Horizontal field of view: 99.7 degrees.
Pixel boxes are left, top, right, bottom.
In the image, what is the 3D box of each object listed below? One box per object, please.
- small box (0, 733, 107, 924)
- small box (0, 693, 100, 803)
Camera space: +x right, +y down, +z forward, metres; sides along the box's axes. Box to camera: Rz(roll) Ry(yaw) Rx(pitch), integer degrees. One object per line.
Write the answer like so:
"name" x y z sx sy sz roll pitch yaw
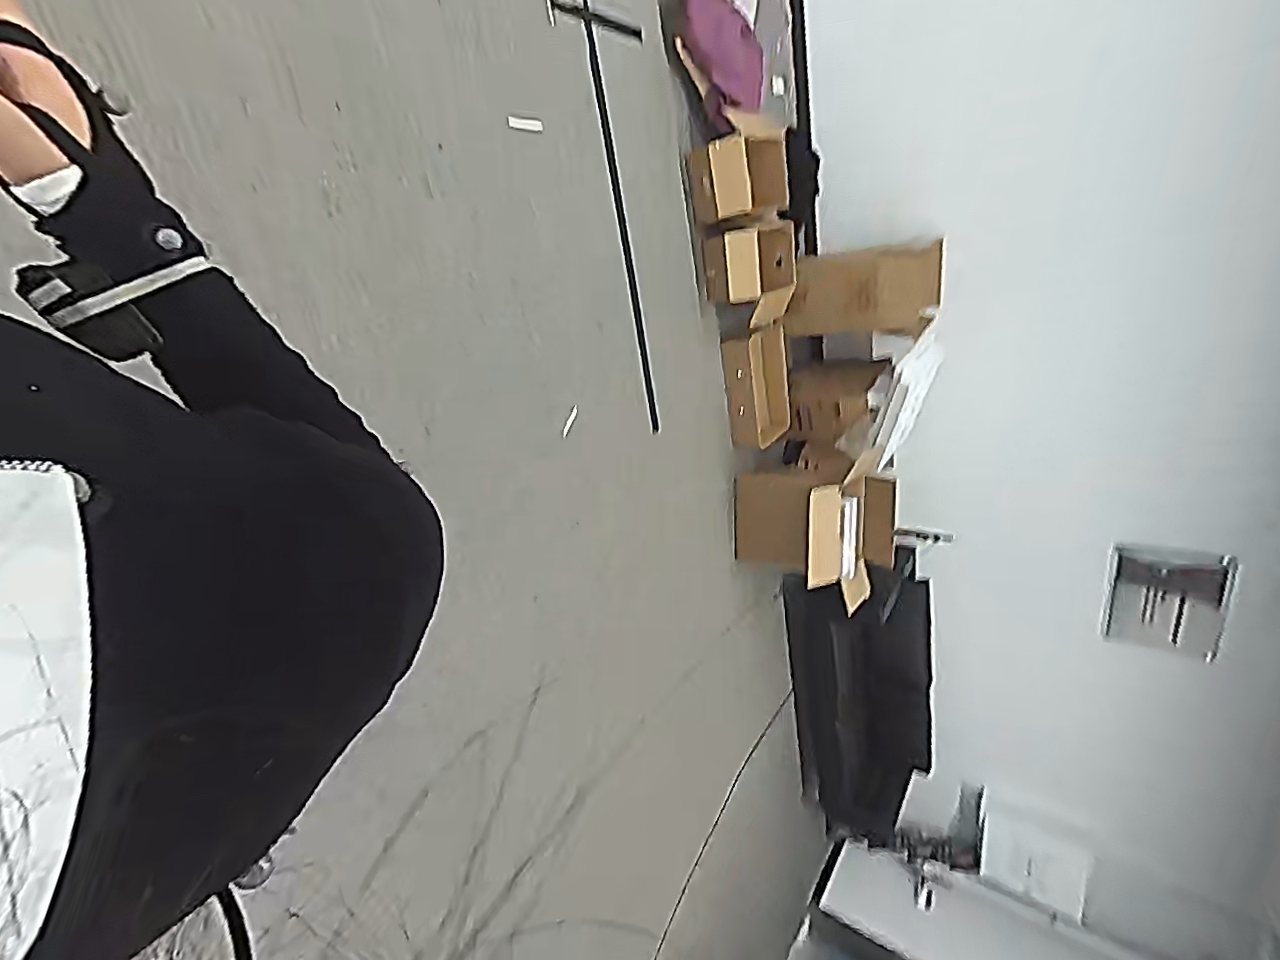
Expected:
"small box" -0.941 0.517 0.798 0.168 0.176 0.179 -29 117 -46
"small box" -1.064 0.495 0.906 0.168 0.176 0.179 -33 121 -45
